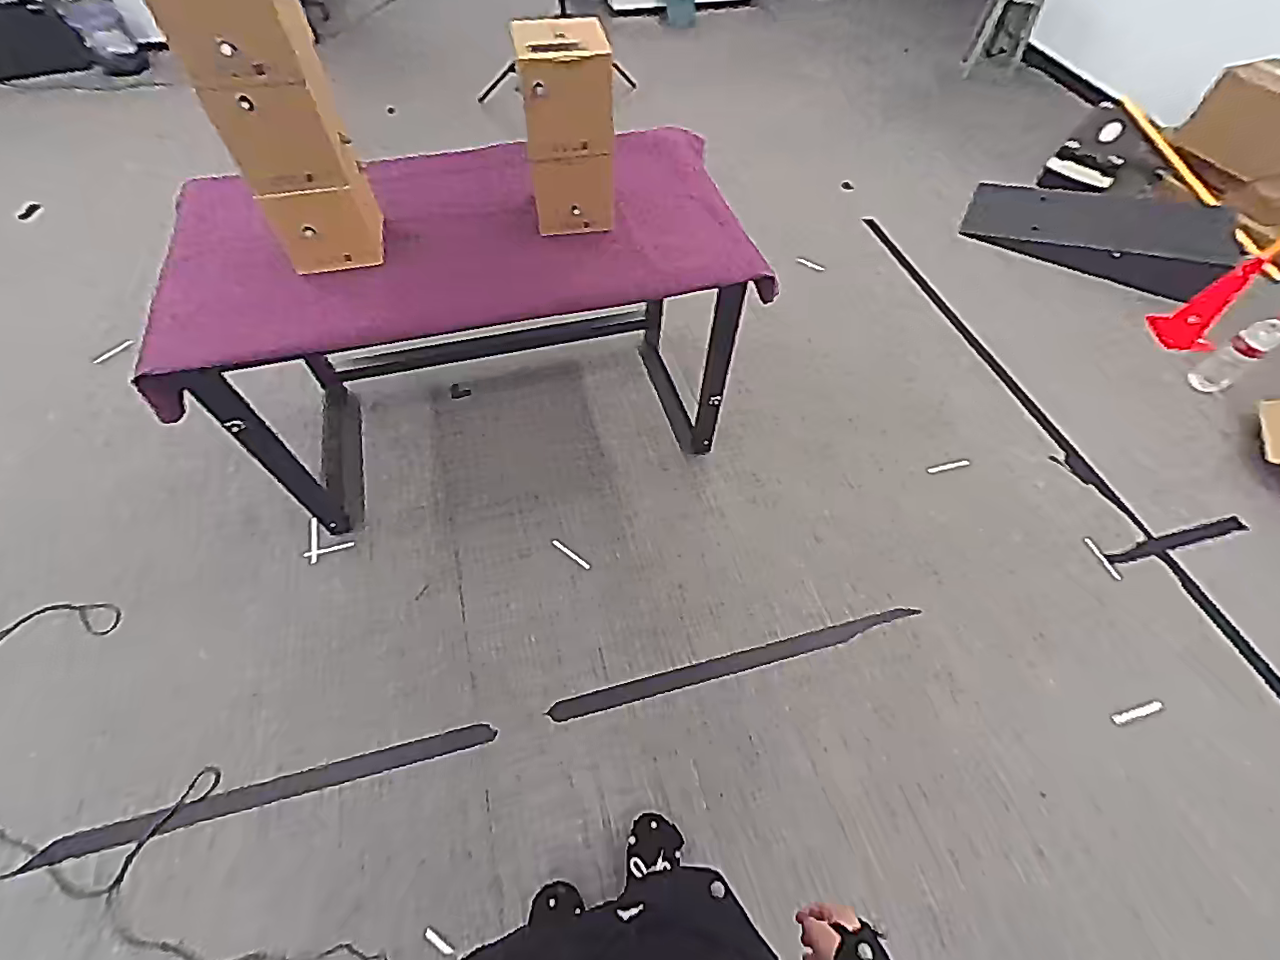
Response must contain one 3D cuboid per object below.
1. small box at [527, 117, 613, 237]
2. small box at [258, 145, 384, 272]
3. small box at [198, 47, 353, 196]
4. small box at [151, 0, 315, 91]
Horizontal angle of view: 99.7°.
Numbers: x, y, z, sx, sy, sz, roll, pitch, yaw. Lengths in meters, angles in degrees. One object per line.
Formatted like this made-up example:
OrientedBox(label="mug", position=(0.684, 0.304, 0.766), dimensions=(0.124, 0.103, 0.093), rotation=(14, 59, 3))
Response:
OrientedBox(label="small box", position=(-0.151, -0.662, 1.186), dimensions=(0.168, 0.176, 0.179), rotation=(-8, 58, -6))
OrientedBox(label="small box", position=(-0.631, -0.541, 1.094), dimensions=(0.168, 0.176, 0.179), rotation=(-12, 58, -9))
OrientedBox(label="small box", position=(-0.629, -0.635, 0.959), dimensions=(0.168, 0.176, 0.179), rotation=(-12, 58, -9))
OrientedBox(label="small box", position=(-0.619, -0.723, 0.820), dimensions=(0.168, 0.176, 0.179), rotation=(-12, 59, -9))
